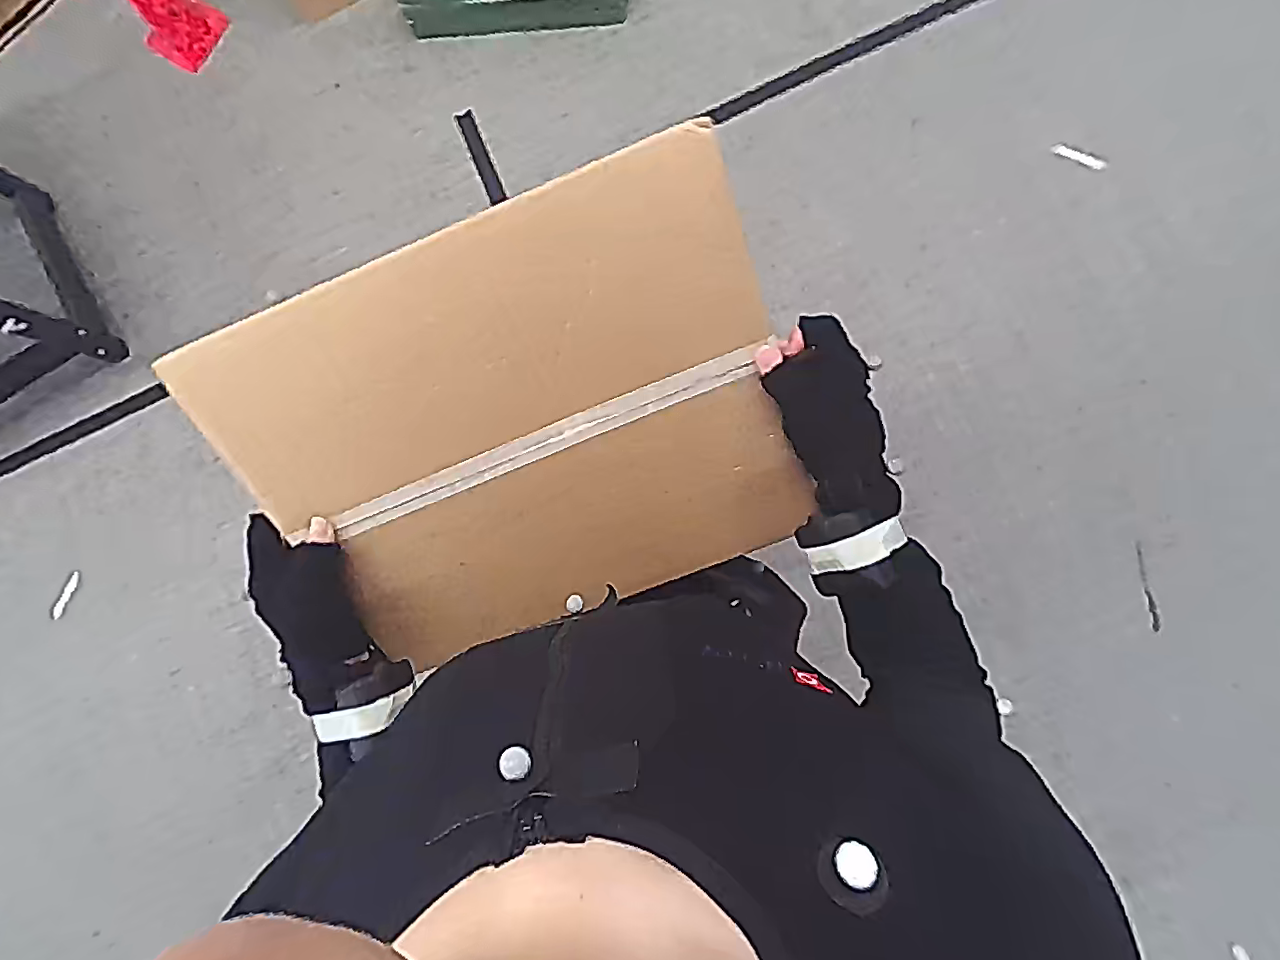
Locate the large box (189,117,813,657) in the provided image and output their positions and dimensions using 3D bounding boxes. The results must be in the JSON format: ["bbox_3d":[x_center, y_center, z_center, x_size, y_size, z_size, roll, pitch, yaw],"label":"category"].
[{"bbox_3d":[-0.098,-0.092,0.560,0.408,0.320,0.320,-21,115,6],"label":"large box"}]
